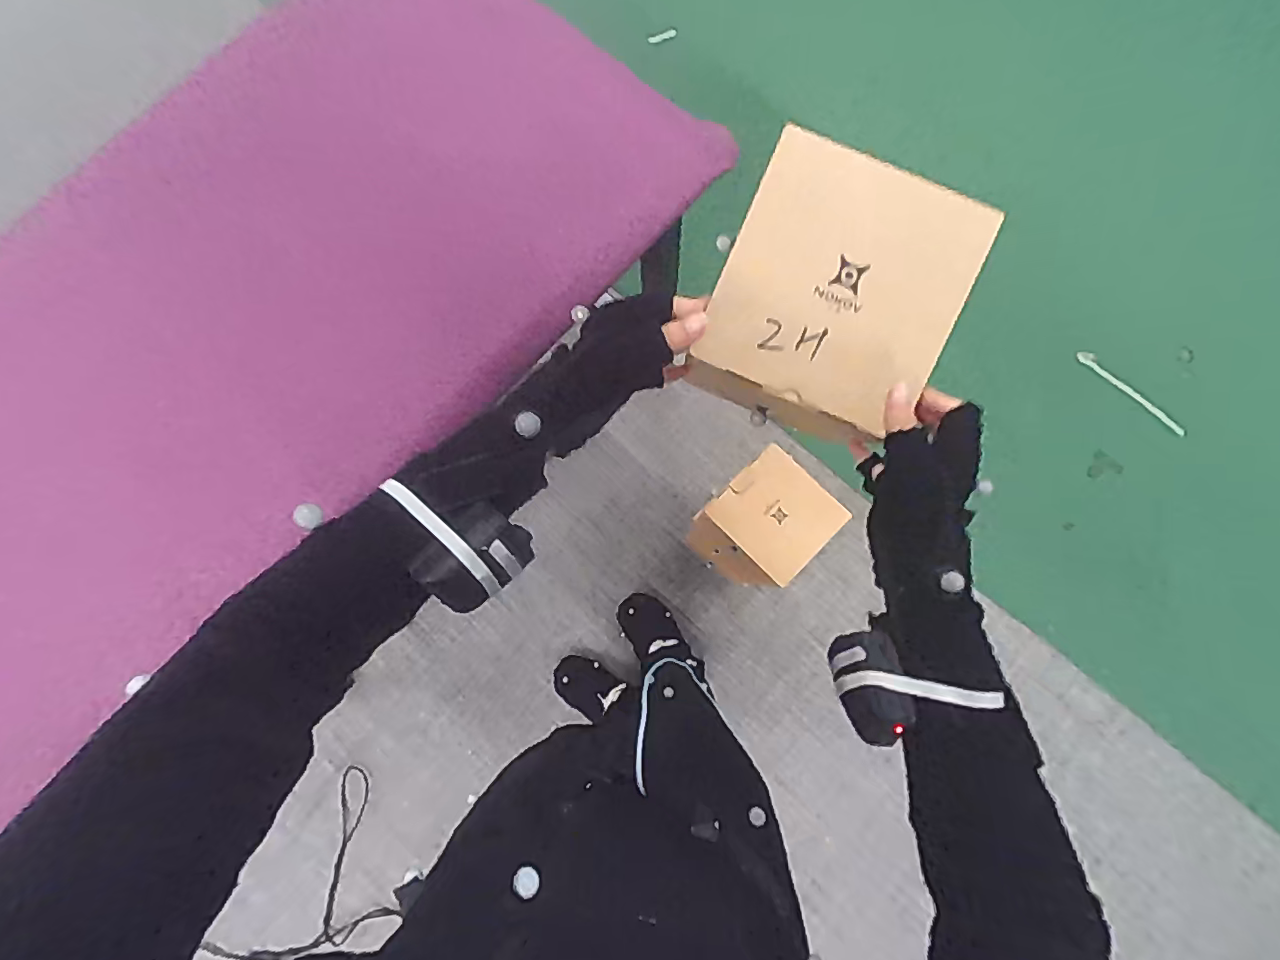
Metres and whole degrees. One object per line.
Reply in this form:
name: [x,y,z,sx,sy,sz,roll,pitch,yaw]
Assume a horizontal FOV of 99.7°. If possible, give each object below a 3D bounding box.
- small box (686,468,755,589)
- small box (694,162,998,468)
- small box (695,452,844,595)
small box: [0.211,0.103,1.108,0.168,0.176,0.179,-43,81,-6]
small box: [0.155,-0.126,0.479,0.168,0.176,0.179,26,95,1]
small box: [0.215,0.079,0.948,0.168,0.176,0.179,-44,81,-6]
